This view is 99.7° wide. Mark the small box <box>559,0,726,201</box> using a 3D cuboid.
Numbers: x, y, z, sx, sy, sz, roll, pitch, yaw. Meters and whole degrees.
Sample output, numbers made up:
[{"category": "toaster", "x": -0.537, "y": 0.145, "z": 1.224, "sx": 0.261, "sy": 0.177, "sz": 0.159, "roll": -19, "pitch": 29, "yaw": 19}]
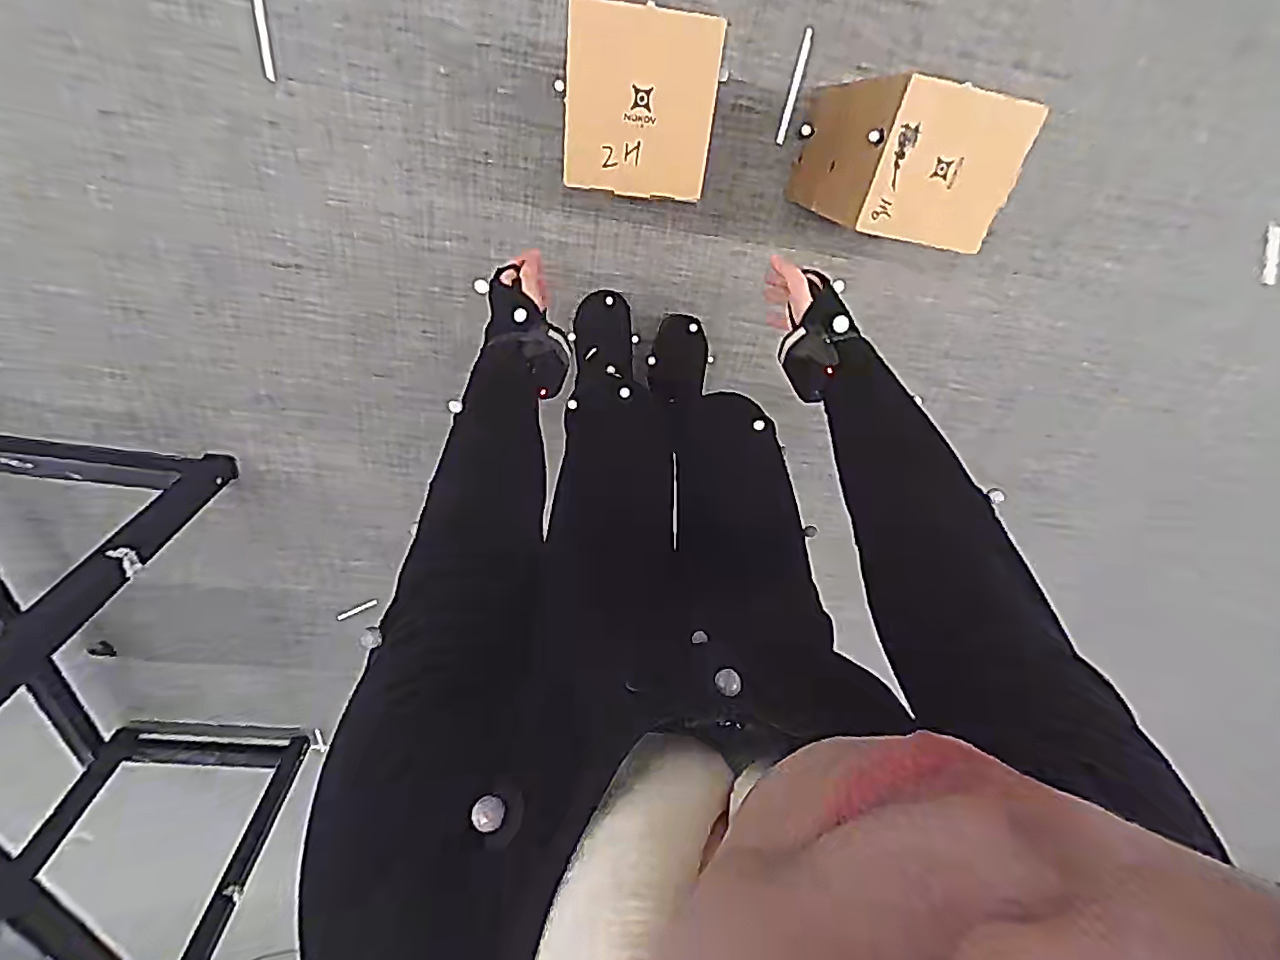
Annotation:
[{"category": "small box", "x": -0.007, "y": -0.454, "z": 0.652, "sx": 0.168, "sy": 0.176, "sz": 0.179, "roll": 4, "pitch": 125, "yaw": -6}]

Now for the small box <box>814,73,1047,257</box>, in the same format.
[{"category": "small box", "x": 0.359, "y": -0.411, "z": 0.709, "sx": 0.179, "sy": 0.176, "sz": 0.168, "roll": 7, "pitch": 123, "yaw": -9}]

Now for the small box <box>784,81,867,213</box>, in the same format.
[{"category": "small box", "x": 0.351, "y": -0.502, "z": 0.845, "sx": 0.179, "sy": 0.176, "sz": 0.168, "roll": 9, "pitch": 123, "yaw": -9}]
